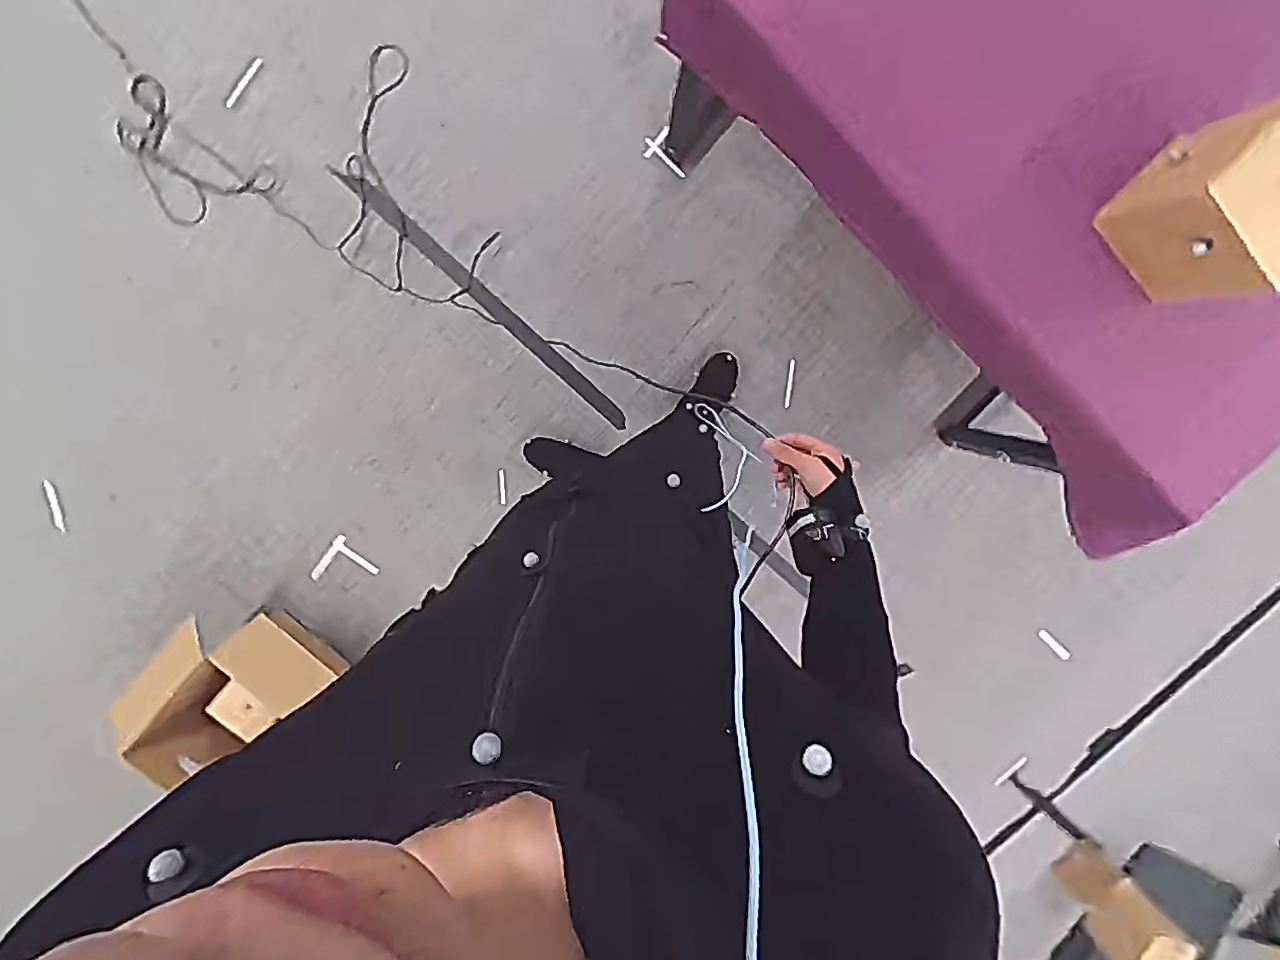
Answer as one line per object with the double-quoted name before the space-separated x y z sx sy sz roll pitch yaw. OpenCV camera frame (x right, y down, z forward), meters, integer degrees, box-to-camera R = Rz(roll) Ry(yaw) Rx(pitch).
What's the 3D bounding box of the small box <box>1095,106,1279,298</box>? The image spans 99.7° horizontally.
"small box" 0.800 -0.370 0.742 0.179 0.176 0.168 44 98 -10
